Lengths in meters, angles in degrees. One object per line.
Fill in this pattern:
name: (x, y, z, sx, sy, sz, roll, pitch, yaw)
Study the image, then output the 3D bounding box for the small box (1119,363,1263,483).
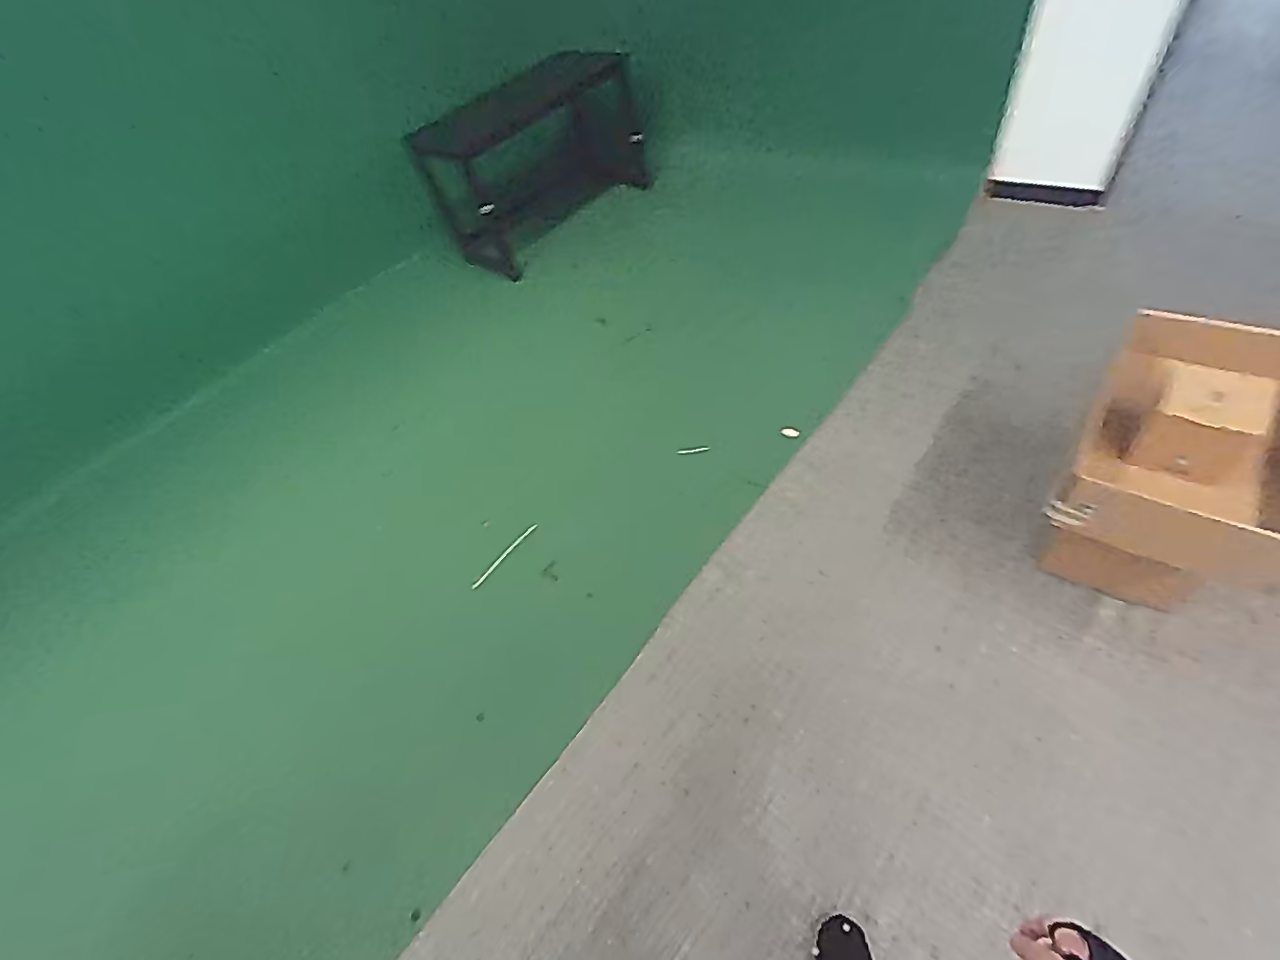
small box: (1.224, -0.127, 1.211, 0.168, 0.176, 0.179, 25, 61, 31)
